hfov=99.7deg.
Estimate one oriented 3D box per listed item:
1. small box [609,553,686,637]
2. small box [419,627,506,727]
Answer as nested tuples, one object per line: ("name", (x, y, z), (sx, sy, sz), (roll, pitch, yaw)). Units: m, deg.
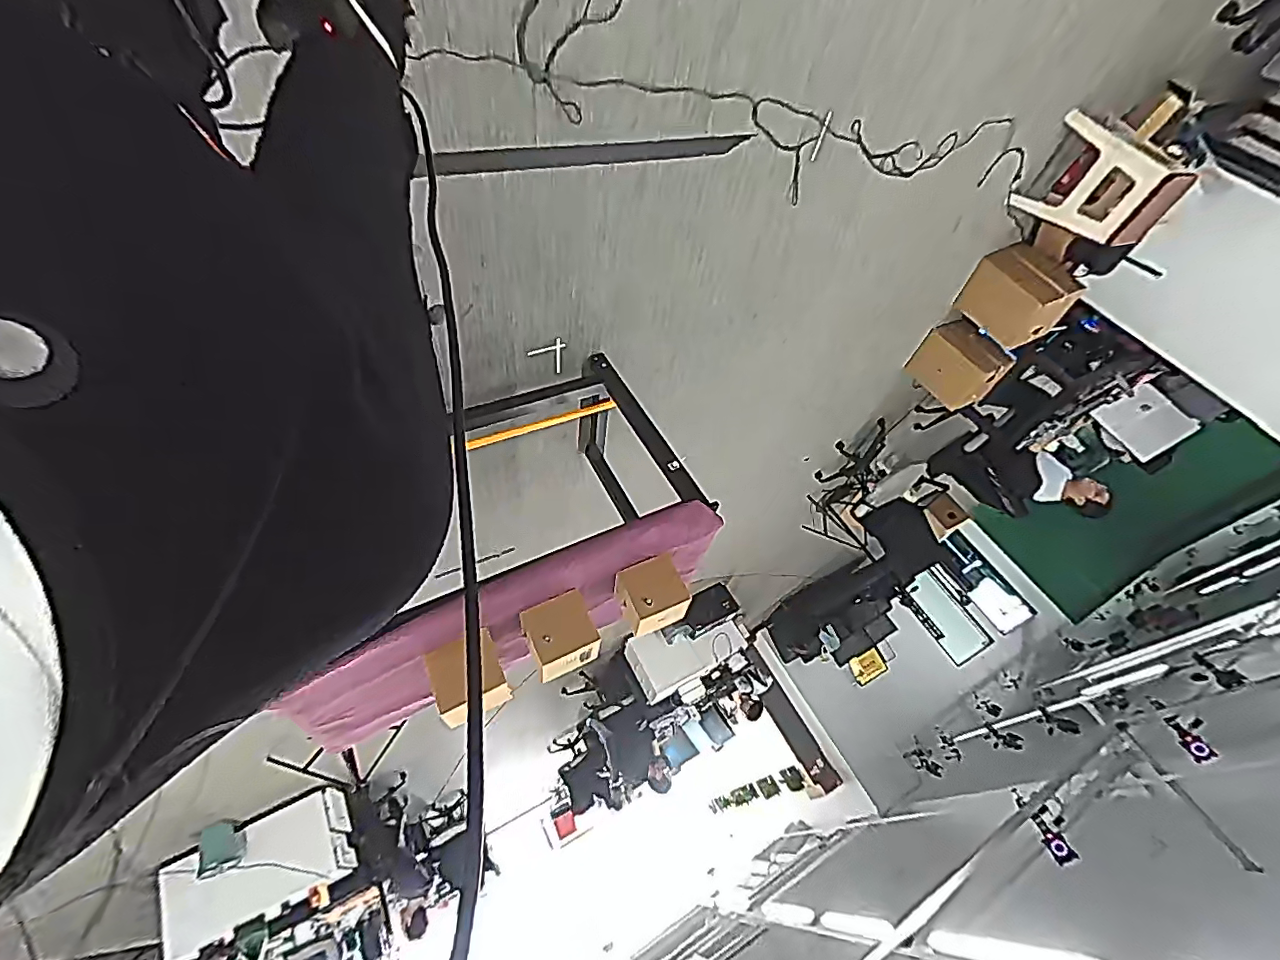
("small box", (0.016, 0.355, 1.675), (0.179, 0.176, 0.168), (-19, 151, -20))
("small box", (-0.477, 0.526, 1.448), (0.179, 0.176, 0.168), (-22, 151, -22))
